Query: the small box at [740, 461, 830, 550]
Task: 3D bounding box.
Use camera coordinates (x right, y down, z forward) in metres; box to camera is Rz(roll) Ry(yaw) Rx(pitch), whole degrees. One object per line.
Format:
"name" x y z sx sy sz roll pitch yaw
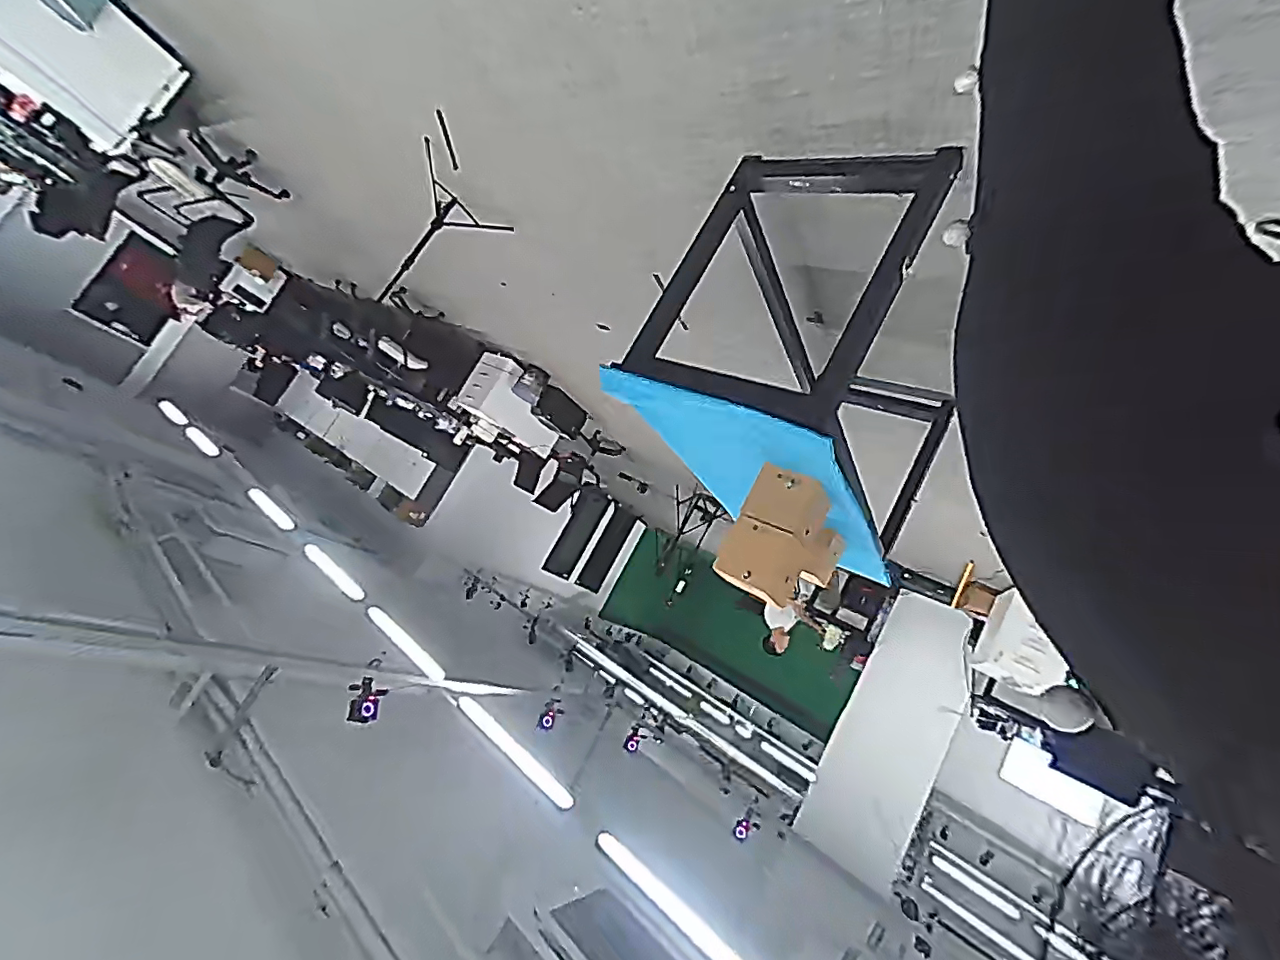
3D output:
"small box" 0.411 0.071 1.513 0.168 0.176 0.179 23 169 36

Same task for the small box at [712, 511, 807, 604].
"small box" 0.334 0.210 1.480 0.168 0.176 0.179 23 168 40

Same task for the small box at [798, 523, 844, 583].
"small box" 0.592 0.236 1.892 0.179 0.176 0.168 21 170 33
